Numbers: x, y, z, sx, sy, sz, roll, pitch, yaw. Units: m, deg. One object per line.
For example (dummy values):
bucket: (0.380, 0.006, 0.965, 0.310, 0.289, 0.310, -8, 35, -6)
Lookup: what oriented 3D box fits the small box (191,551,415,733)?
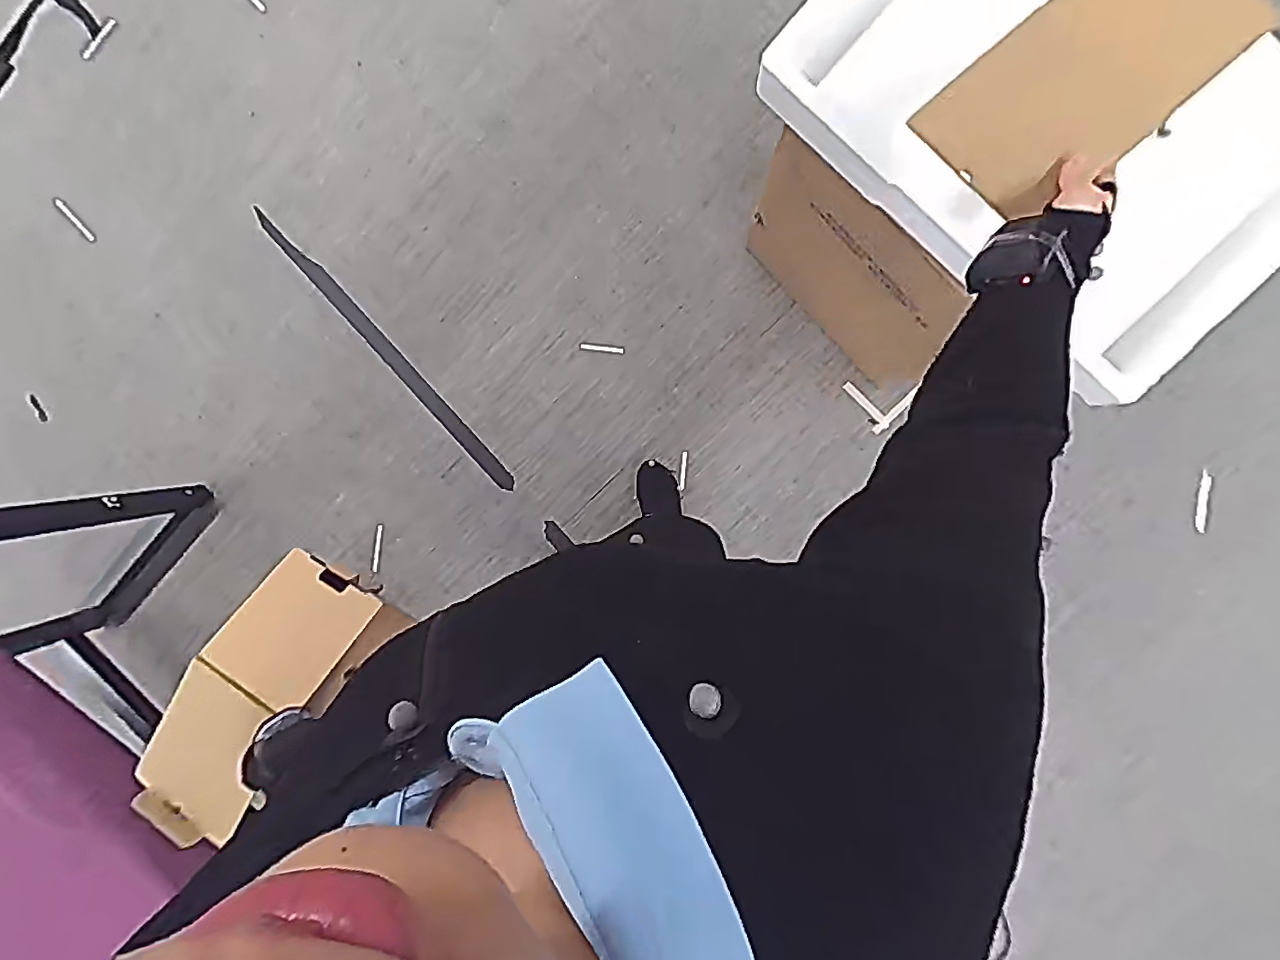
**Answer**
small box: (-0.456, 0.235, 0.767, 0.168, 0.176, 0.179, 29, 67, 11)
